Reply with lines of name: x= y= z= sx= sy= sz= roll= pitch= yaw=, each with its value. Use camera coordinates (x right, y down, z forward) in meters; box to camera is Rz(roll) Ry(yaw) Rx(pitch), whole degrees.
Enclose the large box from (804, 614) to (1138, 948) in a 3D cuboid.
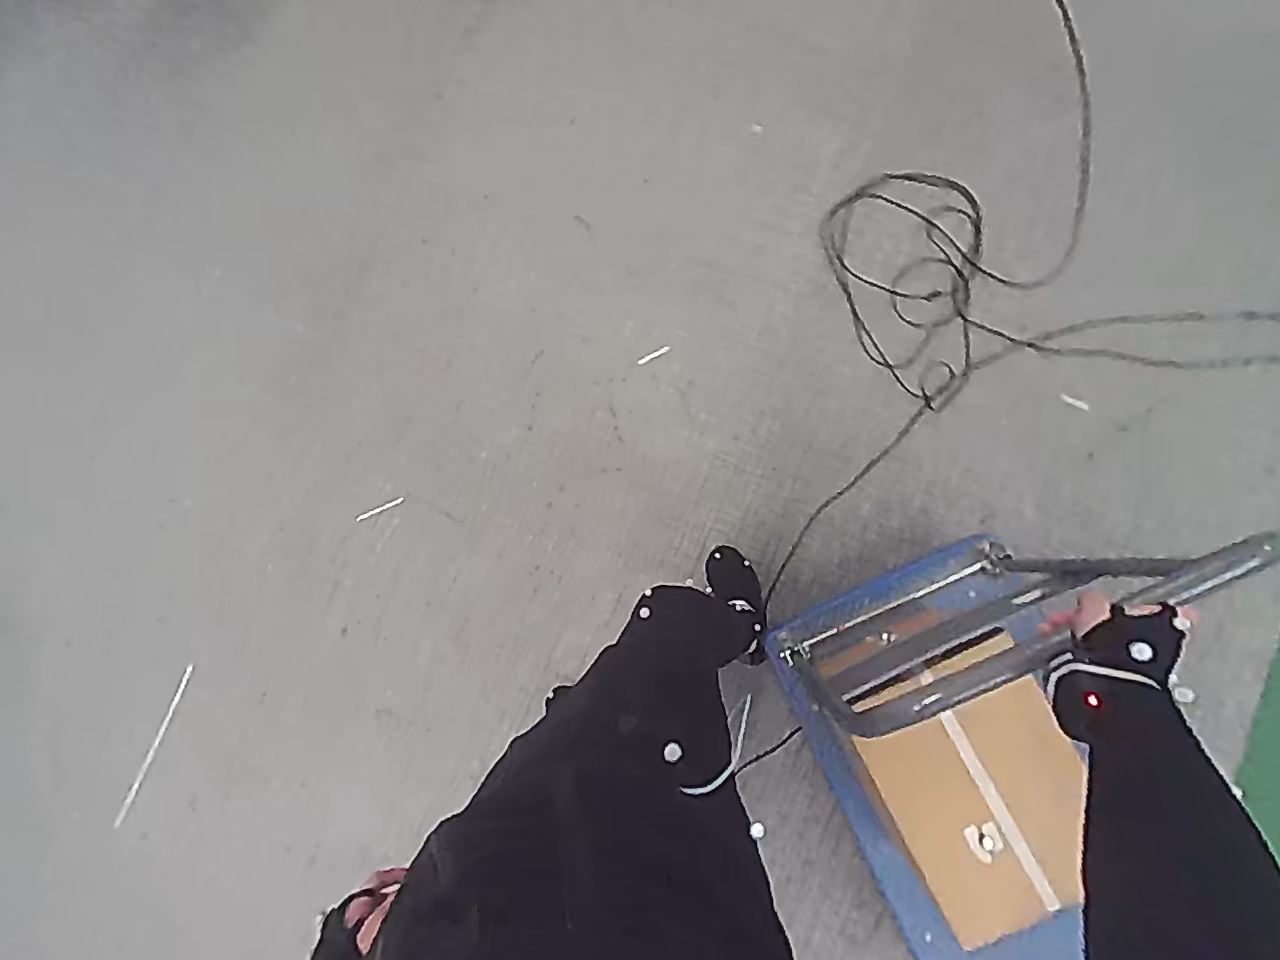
large box: x=0.571 y=0.517 z=1.026 sx=0.320 sy=0.320 sz=0.408 roll=-27 pitch=82 yaw=2
